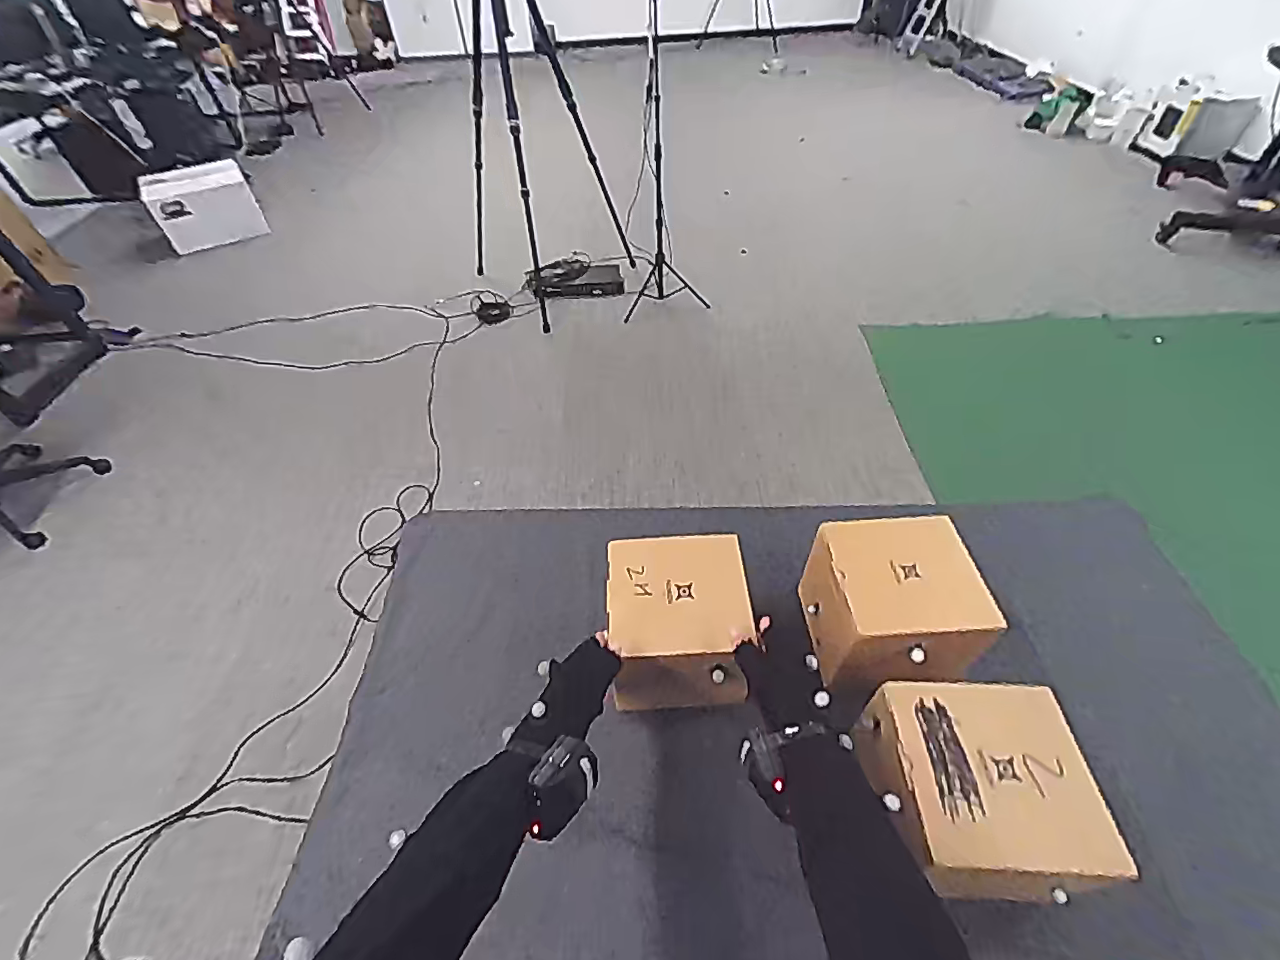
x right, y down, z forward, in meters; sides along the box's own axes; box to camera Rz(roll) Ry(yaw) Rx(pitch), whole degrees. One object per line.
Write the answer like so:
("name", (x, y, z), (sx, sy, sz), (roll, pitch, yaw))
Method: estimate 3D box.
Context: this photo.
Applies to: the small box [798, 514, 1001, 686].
("small box", (0.329, 0.165, 0.730), (0.179, 0.176, 0.168), (-4, 48, 0))
